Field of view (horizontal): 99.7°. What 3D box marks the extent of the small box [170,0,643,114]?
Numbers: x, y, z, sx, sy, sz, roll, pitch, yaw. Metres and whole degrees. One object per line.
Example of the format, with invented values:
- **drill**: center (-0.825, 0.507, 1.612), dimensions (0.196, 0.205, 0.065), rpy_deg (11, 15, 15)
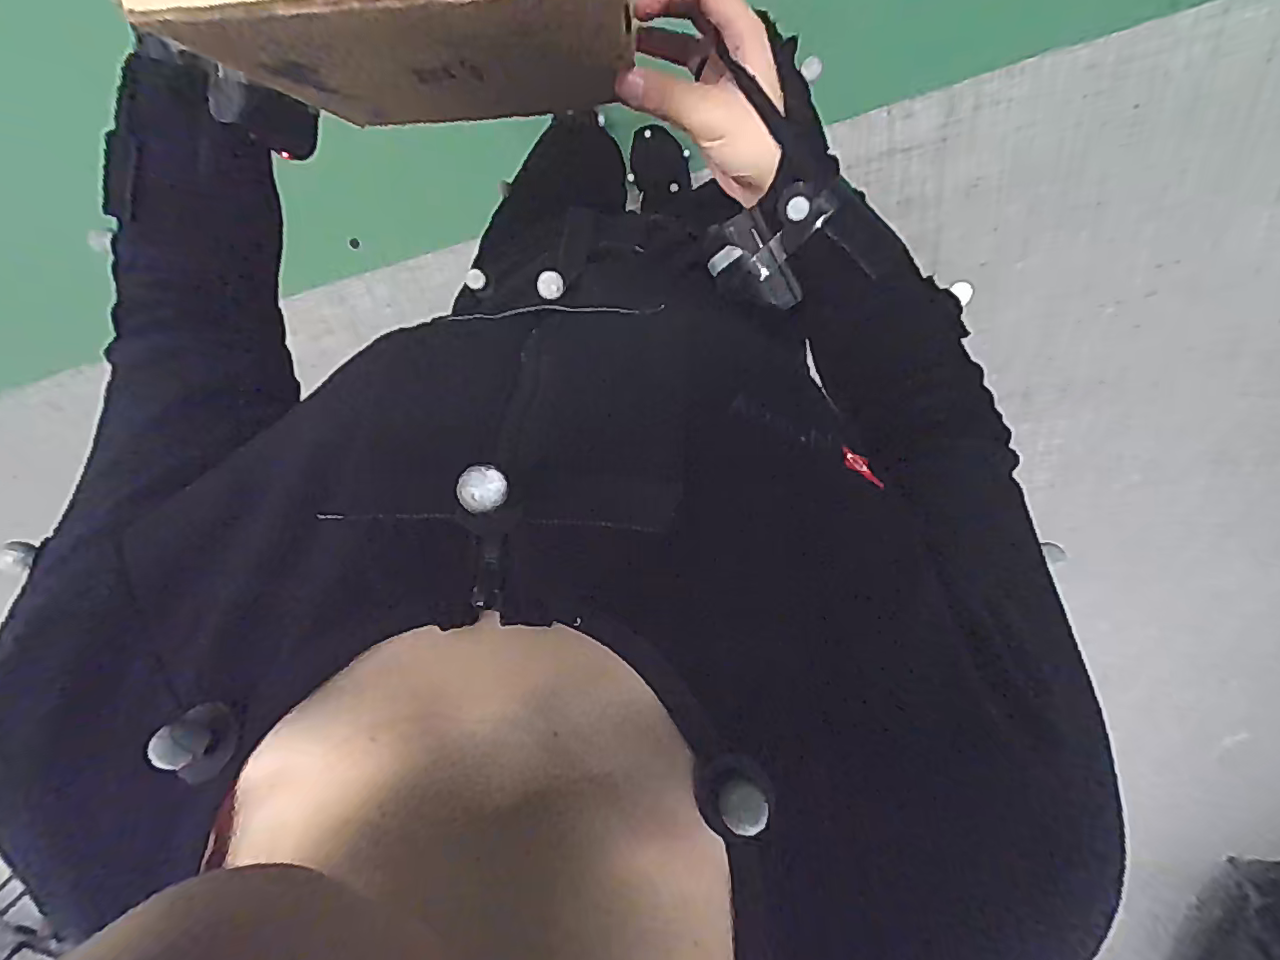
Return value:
- **small box**: center (-0.093, -0.284, 0.232), dimensions (0.179, 0.168, 0.176), rpy_deg (-5, 111, 2)
